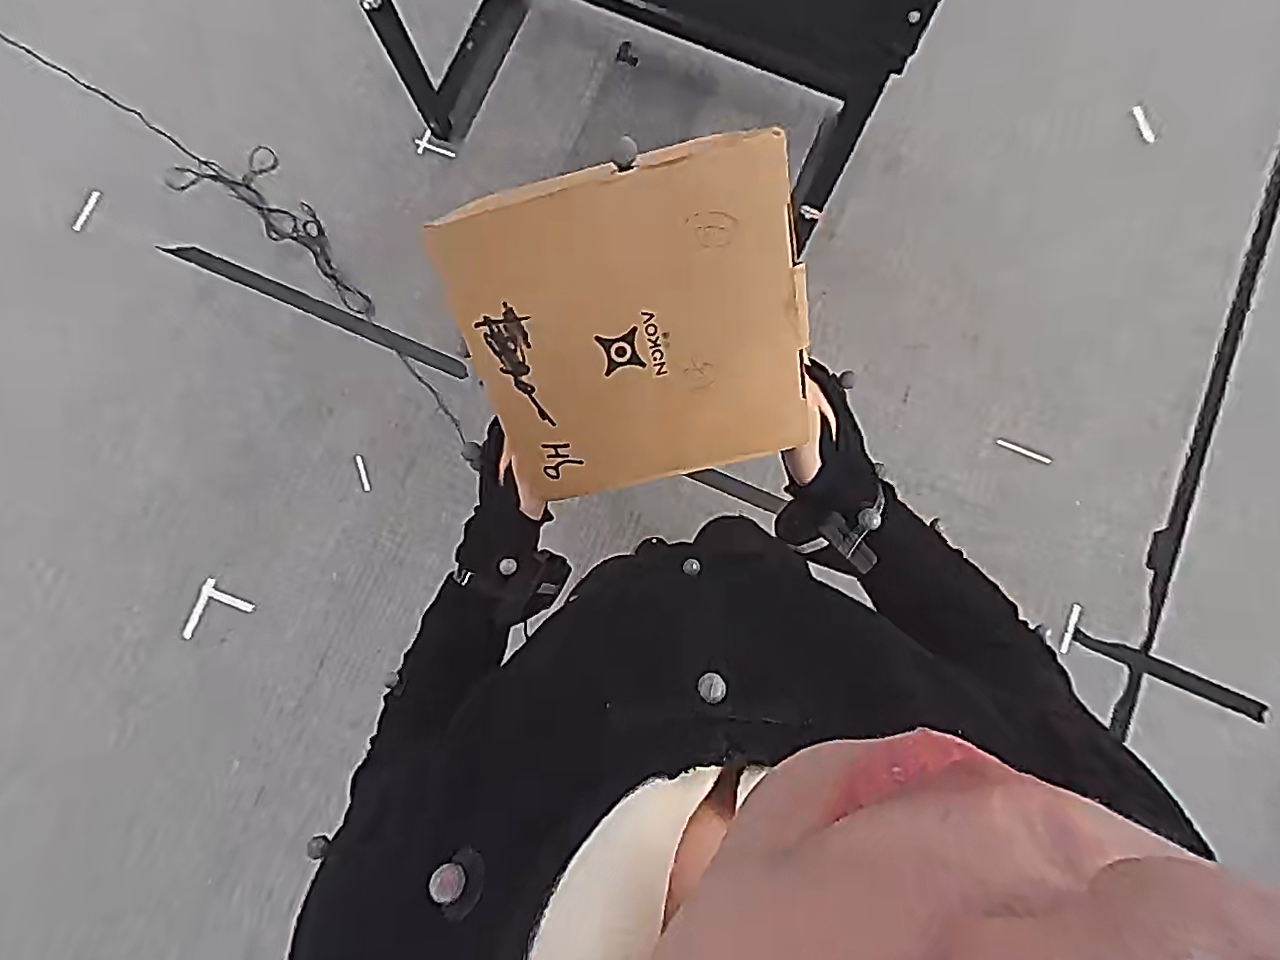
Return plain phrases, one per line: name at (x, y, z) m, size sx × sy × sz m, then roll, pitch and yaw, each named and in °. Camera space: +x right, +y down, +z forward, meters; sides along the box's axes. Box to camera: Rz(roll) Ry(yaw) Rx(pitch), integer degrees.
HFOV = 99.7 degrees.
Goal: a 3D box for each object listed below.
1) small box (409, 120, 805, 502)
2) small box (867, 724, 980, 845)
small box at (-0.010, -0.114, 0.347) m, size 0.179 × 0.176 × 0.168 m, roll -13°, pitch 121°, yaw 5°
small box at (0.691, 0.745, 1.343) m, size 0.168 × 0.176 × 0.179 m, roll 26°, pitch 84°, yaw 3°
